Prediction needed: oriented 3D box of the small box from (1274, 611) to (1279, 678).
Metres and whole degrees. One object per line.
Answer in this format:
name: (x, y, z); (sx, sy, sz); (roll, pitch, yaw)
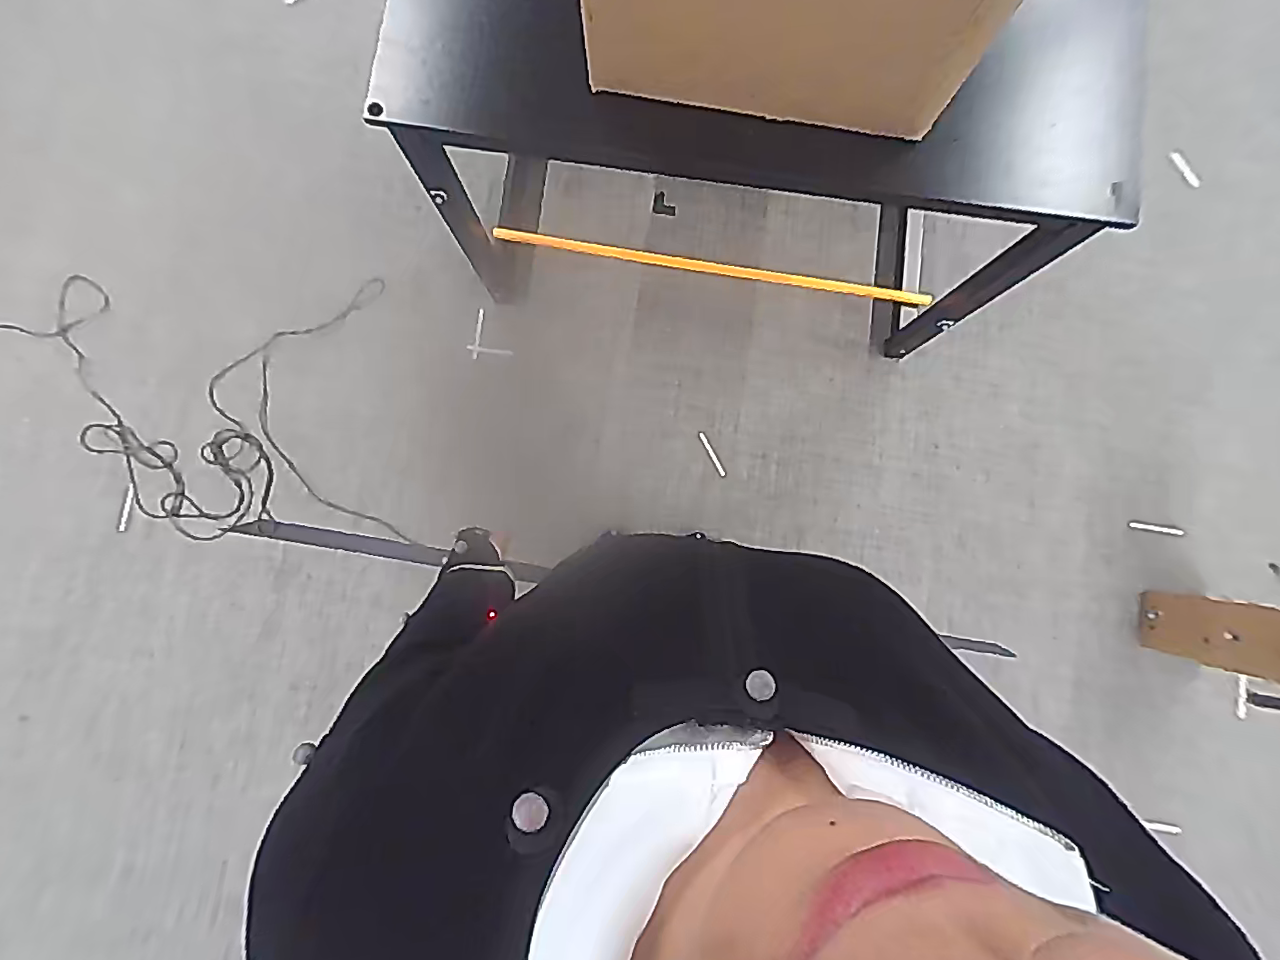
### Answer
small box: (1.470, 0.354, 1.096); (0.179, 0.176, 0.168); (2, 84, 0)

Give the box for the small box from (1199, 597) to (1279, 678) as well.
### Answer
small box: (1.469, 0.370, 1.260); (0.179, 0.176, 0.168); (7, 84, 0)

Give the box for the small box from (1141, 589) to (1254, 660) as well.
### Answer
small box: (1.485, 0.383, 1.424); (0.179, 0.176, 0.168); (6, 84, 1)
